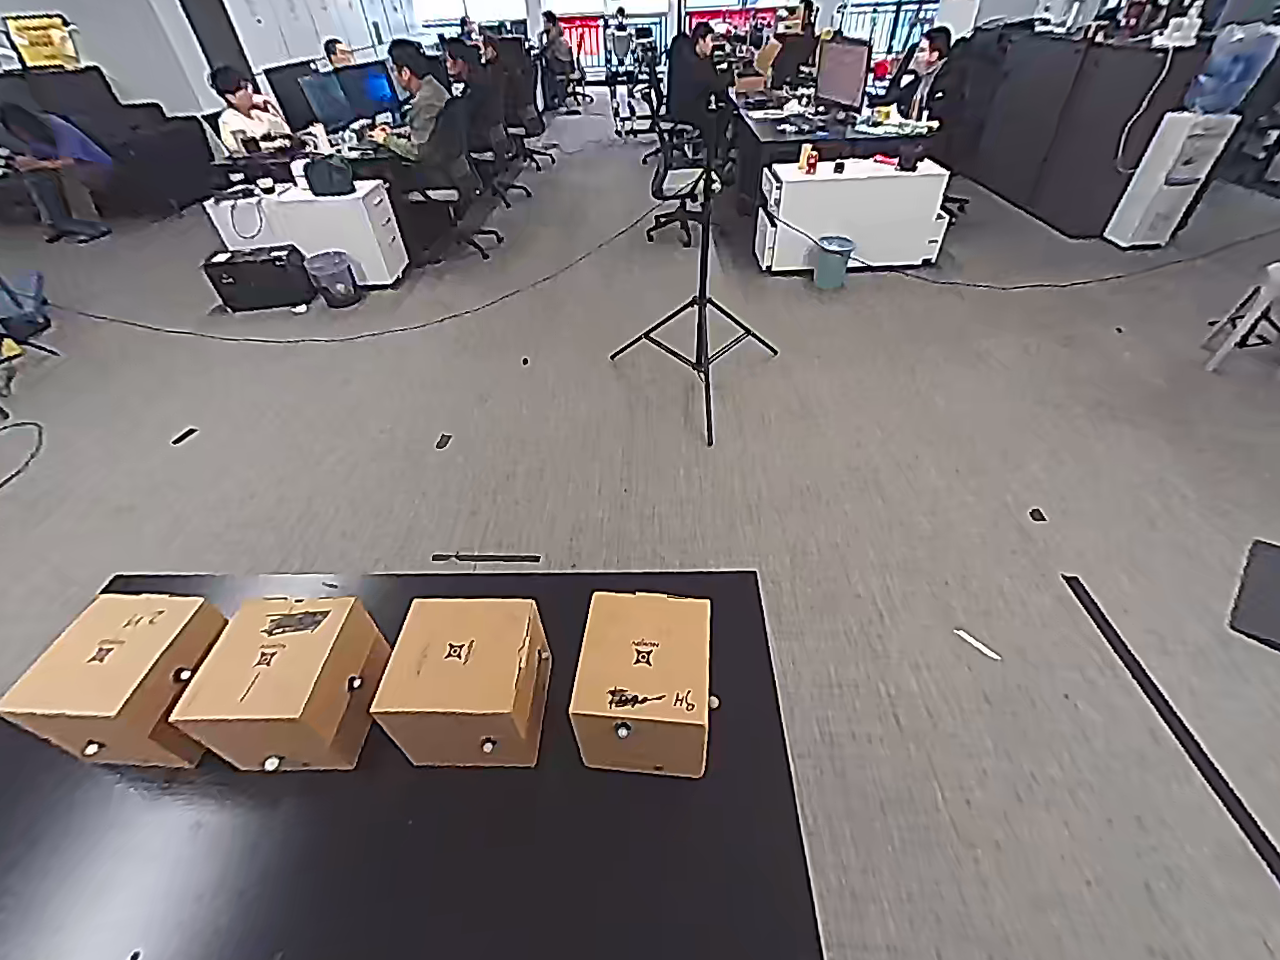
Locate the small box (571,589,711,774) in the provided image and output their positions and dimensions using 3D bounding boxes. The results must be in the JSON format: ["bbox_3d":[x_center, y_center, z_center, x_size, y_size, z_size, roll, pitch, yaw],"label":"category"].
[{"bbox_3d":[0.010,0.275,0.747,0.168,0.176,0.179,2,42,7],"label":"small box"}]

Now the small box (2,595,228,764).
[{"bbox_3d":[-0.704,0.288,0.778,0.168,0.176,0.179,1,42,4],"label":"small box"}]

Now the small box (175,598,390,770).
[{"bbox_3d":[-0.479,0.287,0.765,0.168,0.176,0.179,-1,44,1],"label":"small box"}]

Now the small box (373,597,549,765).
[{"bbox_3d":[-0.231,0.282,0.759,0.179,0.176,0.168,-2,41,3],"label":"small box"}]
